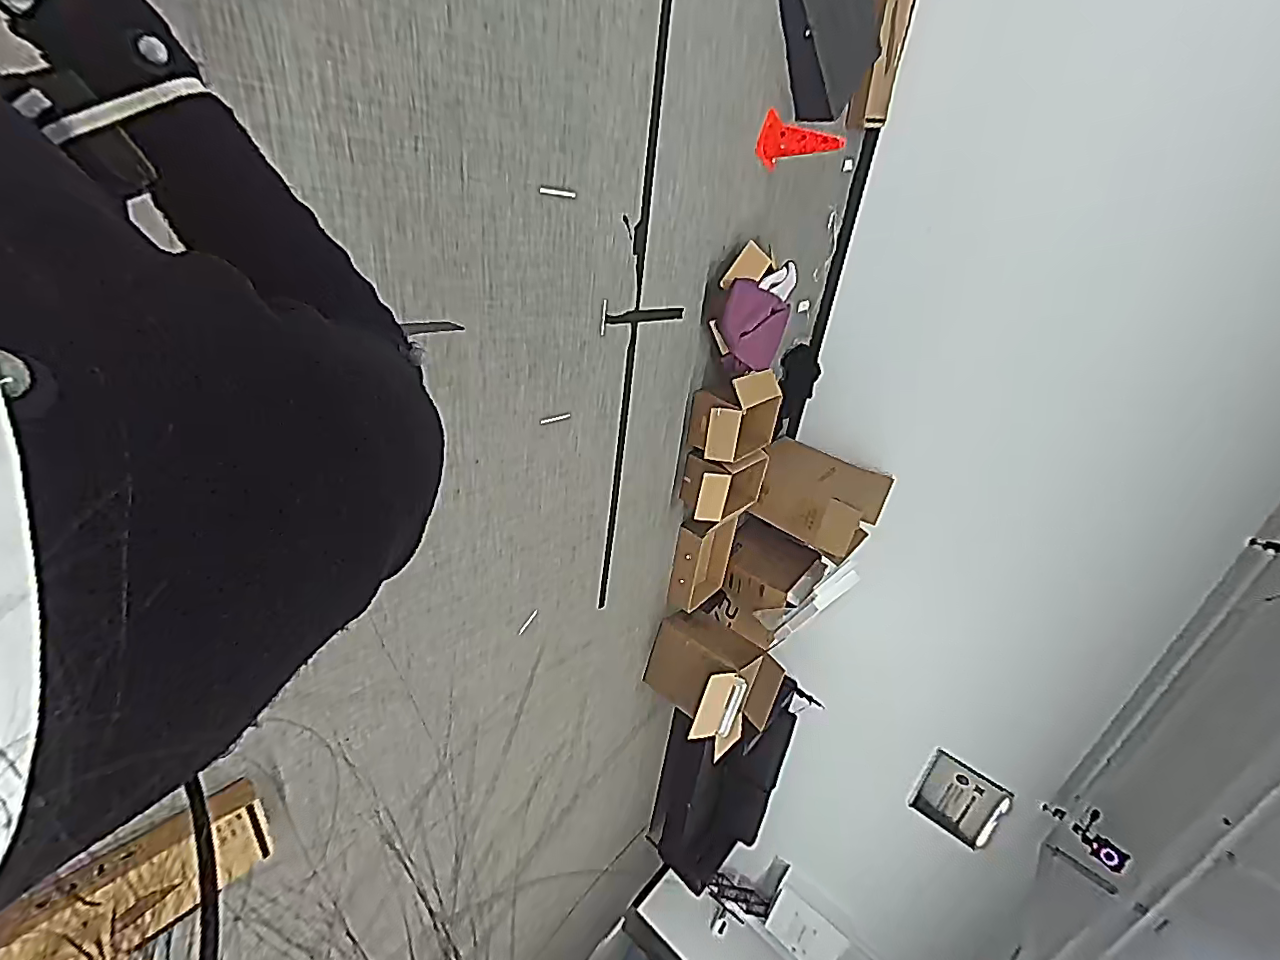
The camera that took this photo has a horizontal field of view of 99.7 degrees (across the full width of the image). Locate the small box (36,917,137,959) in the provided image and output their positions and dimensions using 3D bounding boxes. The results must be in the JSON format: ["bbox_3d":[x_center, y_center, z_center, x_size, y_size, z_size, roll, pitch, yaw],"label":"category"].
[{"bbox_3d":[-1.428,1.286,1.391,0.168,0.176,0.179,-26,132,-44],"label":"small box"}]
